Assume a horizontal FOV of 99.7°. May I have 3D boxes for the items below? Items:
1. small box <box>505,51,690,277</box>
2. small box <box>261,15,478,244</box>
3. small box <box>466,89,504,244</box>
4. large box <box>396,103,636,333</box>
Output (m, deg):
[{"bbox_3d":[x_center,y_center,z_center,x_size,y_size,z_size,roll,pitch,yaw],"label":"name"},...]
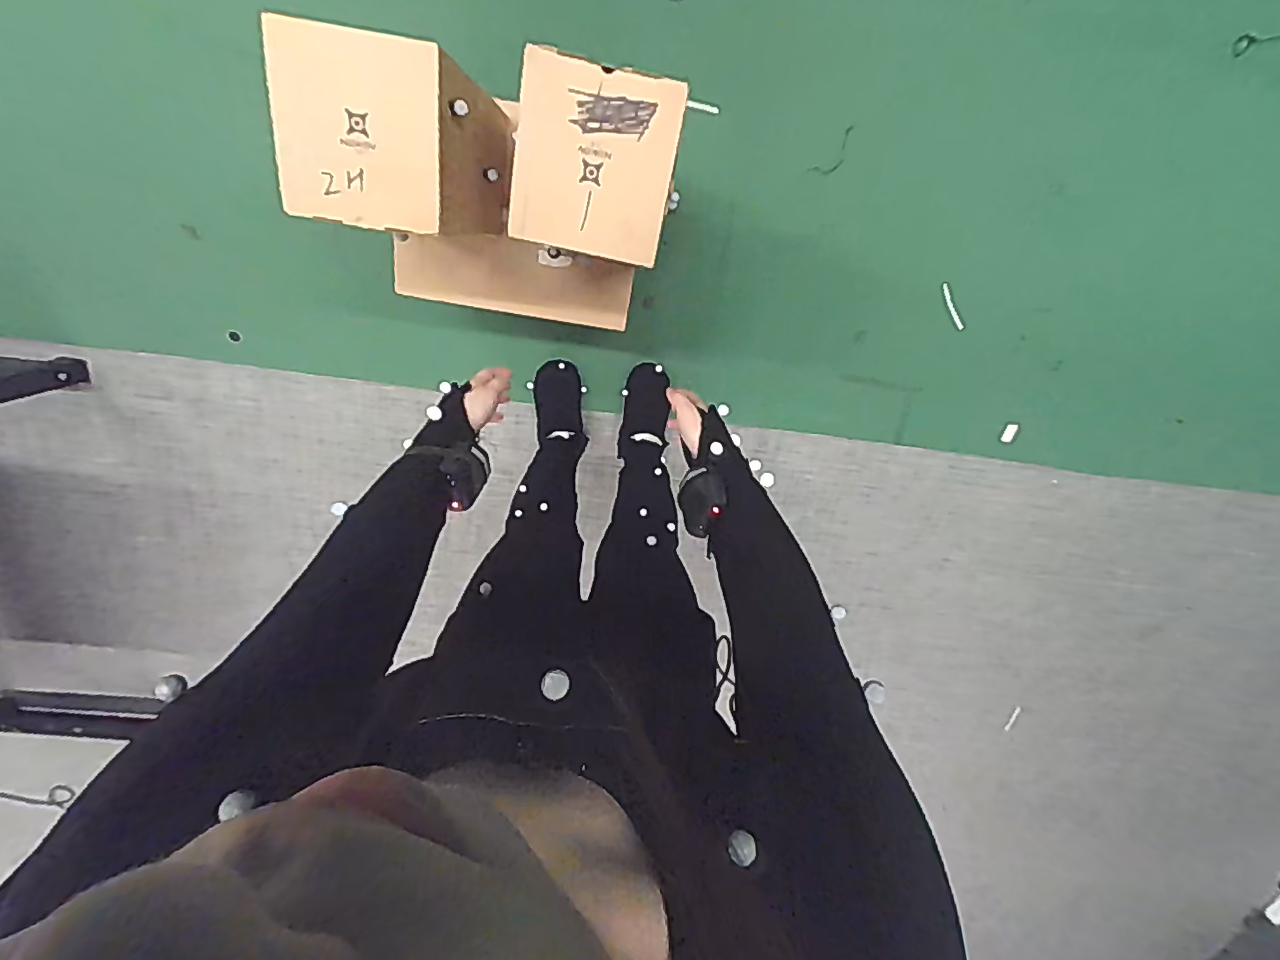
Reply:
[{"bbox_3d":[-0.048,-0.348,0.628,0.168,0.176,0.179,12,113,-5],"label":"small box"},{"bbox_3d":[-0.288,-0.375,0.615,0.168,0.176,0.179,7,113,-4],"label":"small box"},{"bbox_3d":[-0.294,-0.443,0.765,0.168,0.176,0.179,8,113,-5],"label":"small box"},{"bbox_3d":[-0.201,-0.479,1.015,0.408,0.320,0.320,8,114,-5],"label":"large box"}]
